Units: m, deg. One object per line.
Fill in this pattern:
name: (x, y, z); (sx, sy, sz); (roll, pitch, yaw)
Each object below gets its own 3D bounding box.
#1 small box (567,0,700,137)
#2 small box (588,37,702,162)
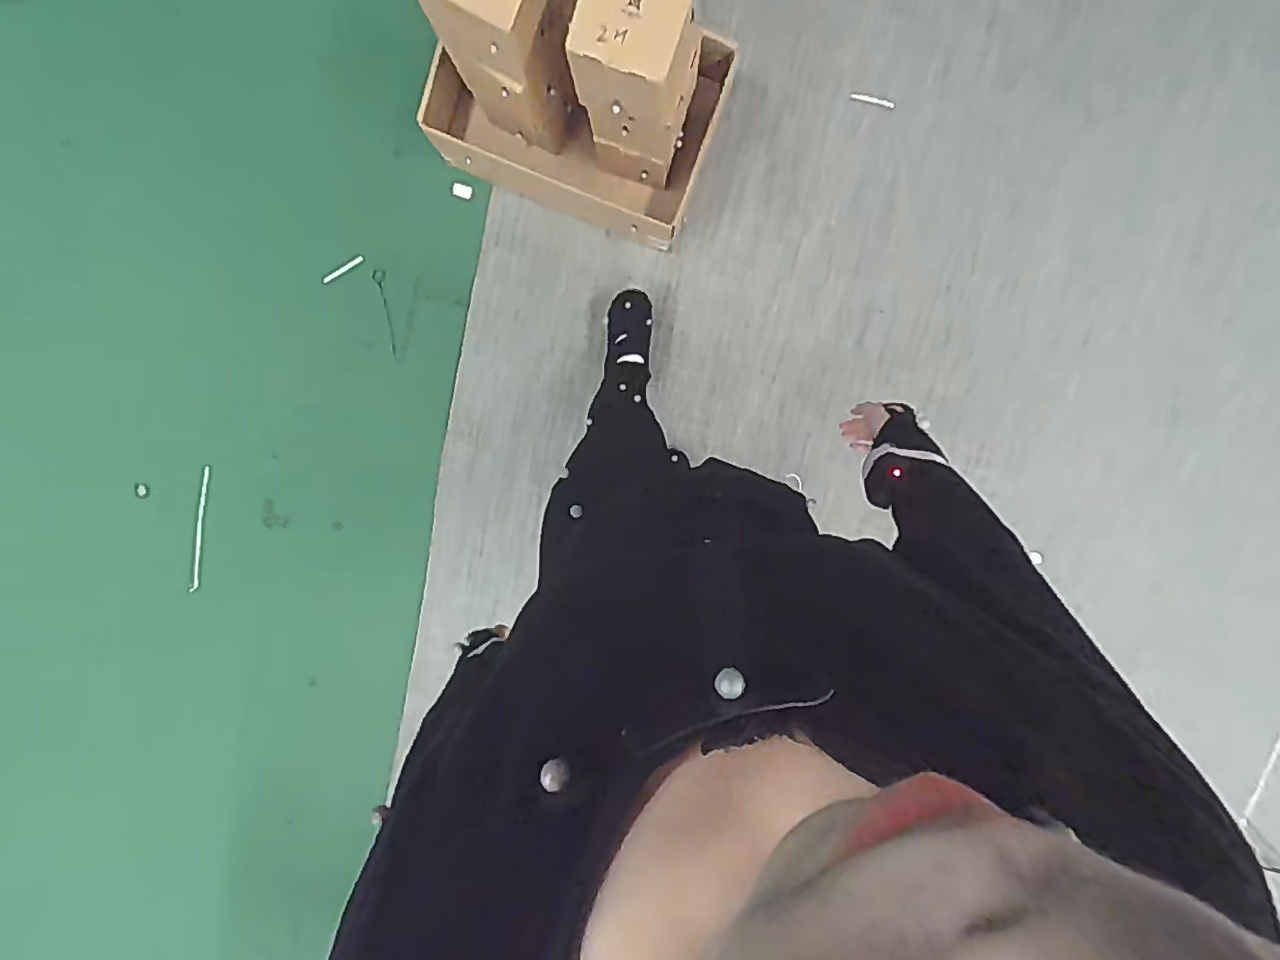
small box: (-0.007, -0.726, 0.906); (0.168, 0.176, 0.179); (20, 100, -1)
small box: (0.010, -0.761, 1.066); (0.179, 0.176, 0.168); (20, 100, 0)
